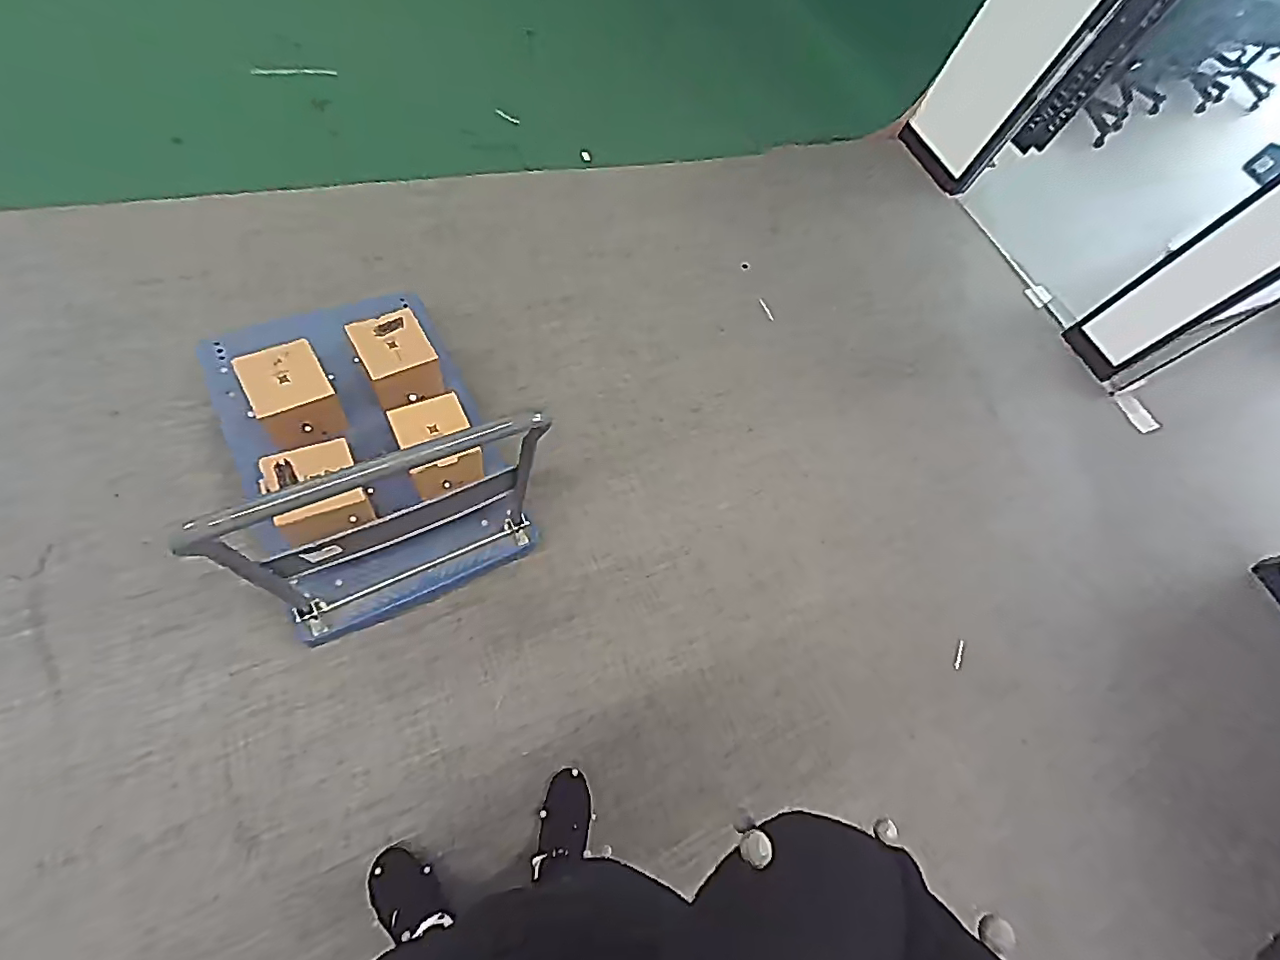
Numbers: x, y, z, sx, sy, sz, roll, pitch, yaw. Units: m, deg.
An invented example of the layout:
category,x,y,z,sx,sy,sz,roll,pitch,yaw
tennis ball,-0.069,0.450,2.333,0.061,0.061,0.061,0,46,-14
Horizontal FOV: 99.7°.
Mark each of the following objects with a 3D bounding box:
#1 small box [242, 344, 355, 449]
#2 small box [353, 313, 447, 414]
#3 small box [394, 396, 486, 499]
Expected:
category,x,y,z,sx,sy,sz,roll,pitch,yaw
small box,-0.836,-0.198,1.340,0.168,0.176,0.179,-27,74,-24
small box,-0.632,-0.304,1.441,0.168,0.176,0.179,-27,76,-23
small box,-0.501,-0.078,1.370,0.168,0.176,0.179,-22,73,-22
